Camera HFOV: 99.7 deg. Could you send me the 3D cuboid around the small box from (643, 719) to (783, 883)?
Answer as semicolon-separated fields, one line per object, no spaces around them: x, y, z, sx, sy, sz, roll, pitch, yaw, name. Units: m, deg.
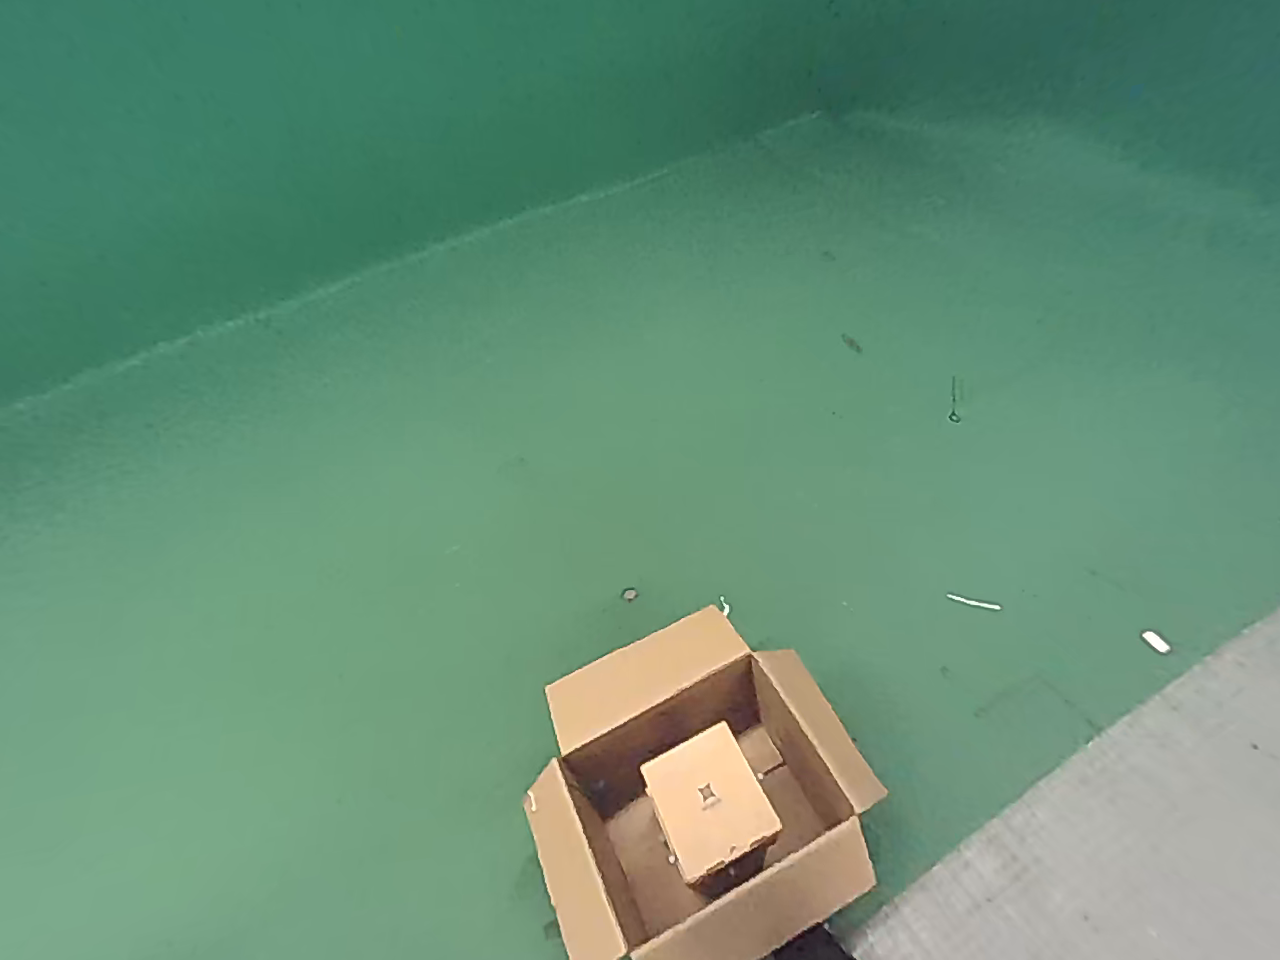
0.119;0.548;0.919;0.168;0.176;0.179;-24;51;-11;small box
